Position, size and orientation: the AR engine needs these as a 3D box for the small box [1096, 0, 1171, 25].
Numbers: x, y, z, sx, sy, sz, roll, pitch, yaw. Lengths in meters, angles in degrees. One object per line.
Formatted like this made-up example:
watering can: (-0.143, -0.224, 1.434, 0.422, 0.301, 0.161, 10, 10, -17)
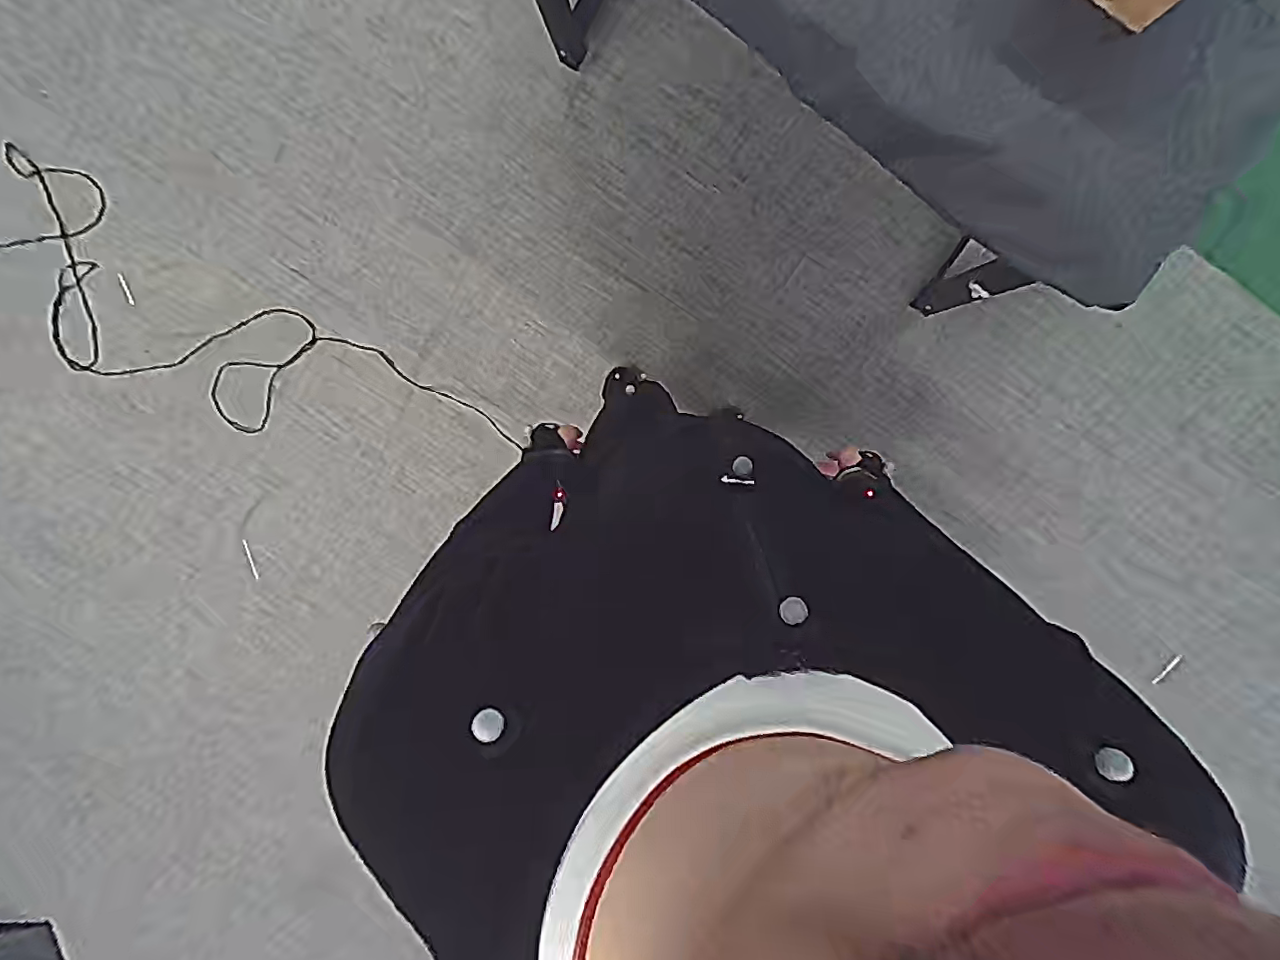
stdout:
small box: (0.600, -0.666, 0.590, 0.168, 0.176, 0.179, 34, 102, -2)
